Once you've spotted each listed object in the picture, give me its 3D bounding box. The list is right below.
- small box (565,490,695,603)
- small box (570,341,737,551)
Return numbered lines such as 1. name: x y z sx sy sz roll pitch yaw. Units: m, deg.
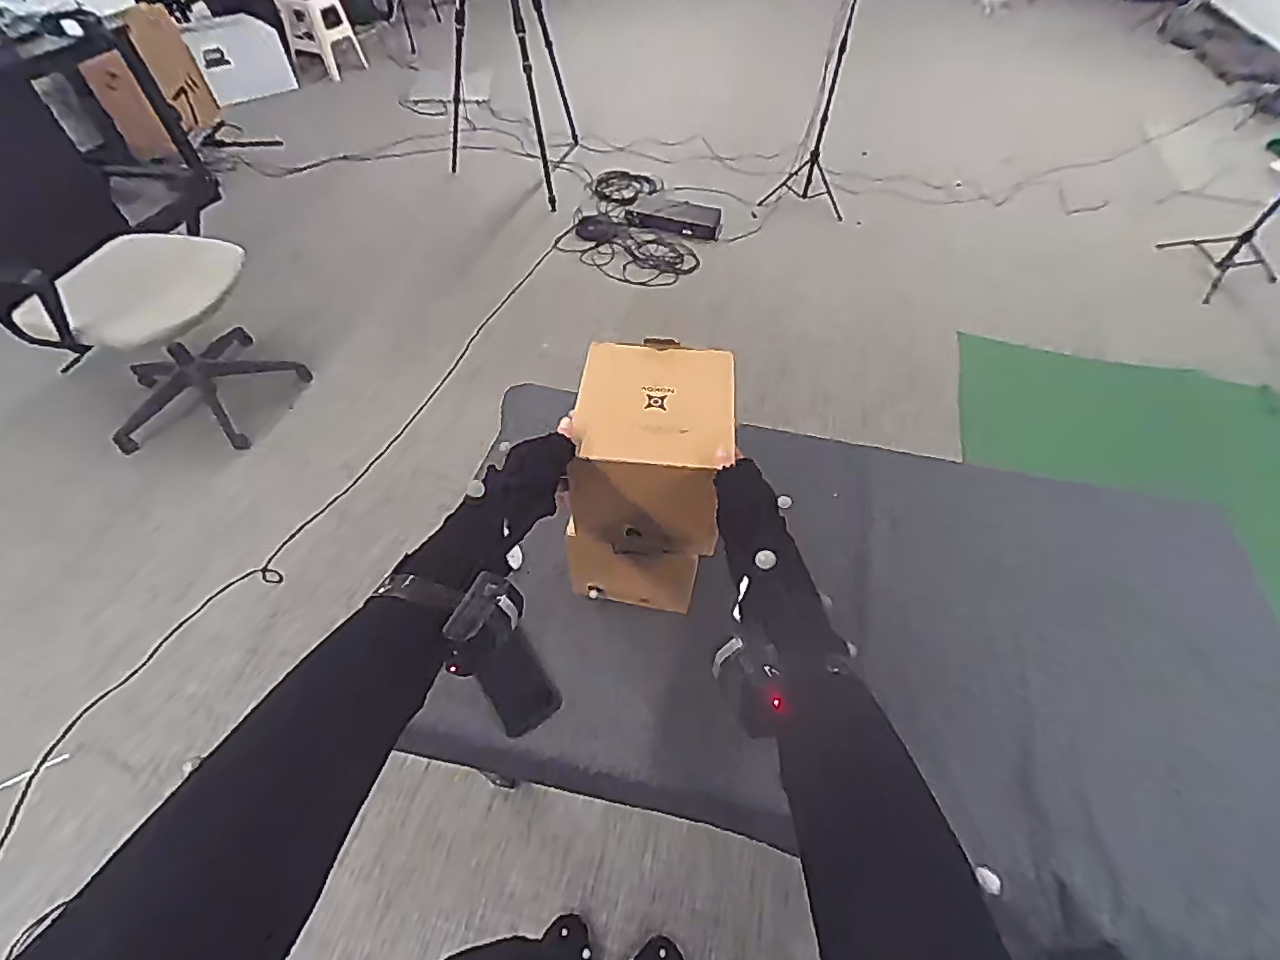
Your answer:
1. small box: 0.001 0.054 0.766 0.168 0.176 0.179 9 53 5
2. small box: 0.016 -0.037 0.634 0.168 0.176 0.179 4 55 2
